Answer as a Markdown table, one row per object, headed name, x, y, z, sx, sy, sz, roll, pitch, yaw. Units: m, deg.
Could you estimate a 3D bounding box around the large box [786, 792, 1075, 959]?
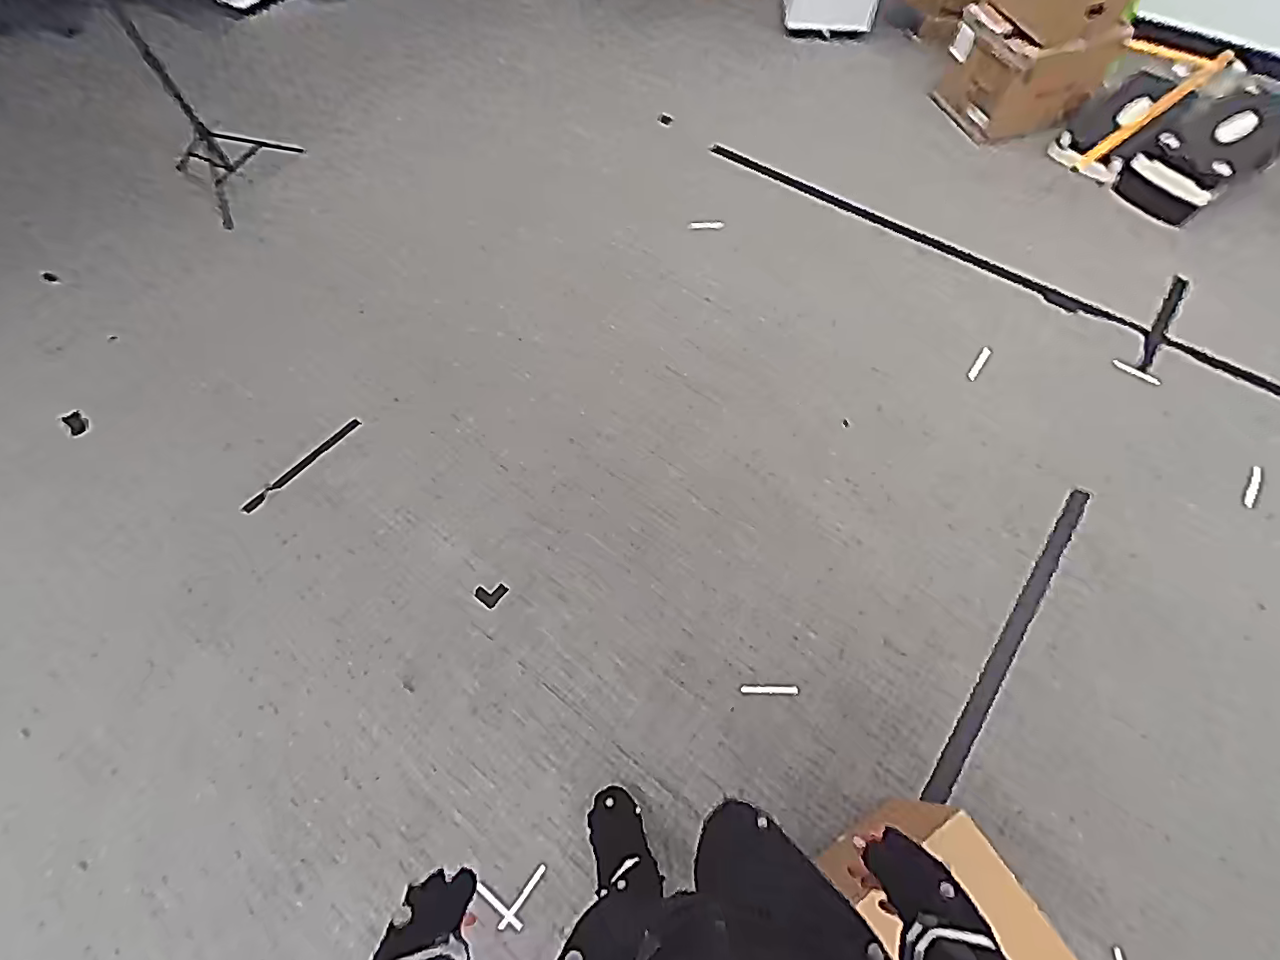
| name | x | y | z | sx | sy | sz | roll | pitch | yaw |
| --- | --- | --- | --- | --- | --- | --- | --- | --- | --- |
| large box | 0.541 | 0.868 | 0.999 | 0.320 | 0.320 | 0.408 | -29 | 66 | -14 |
